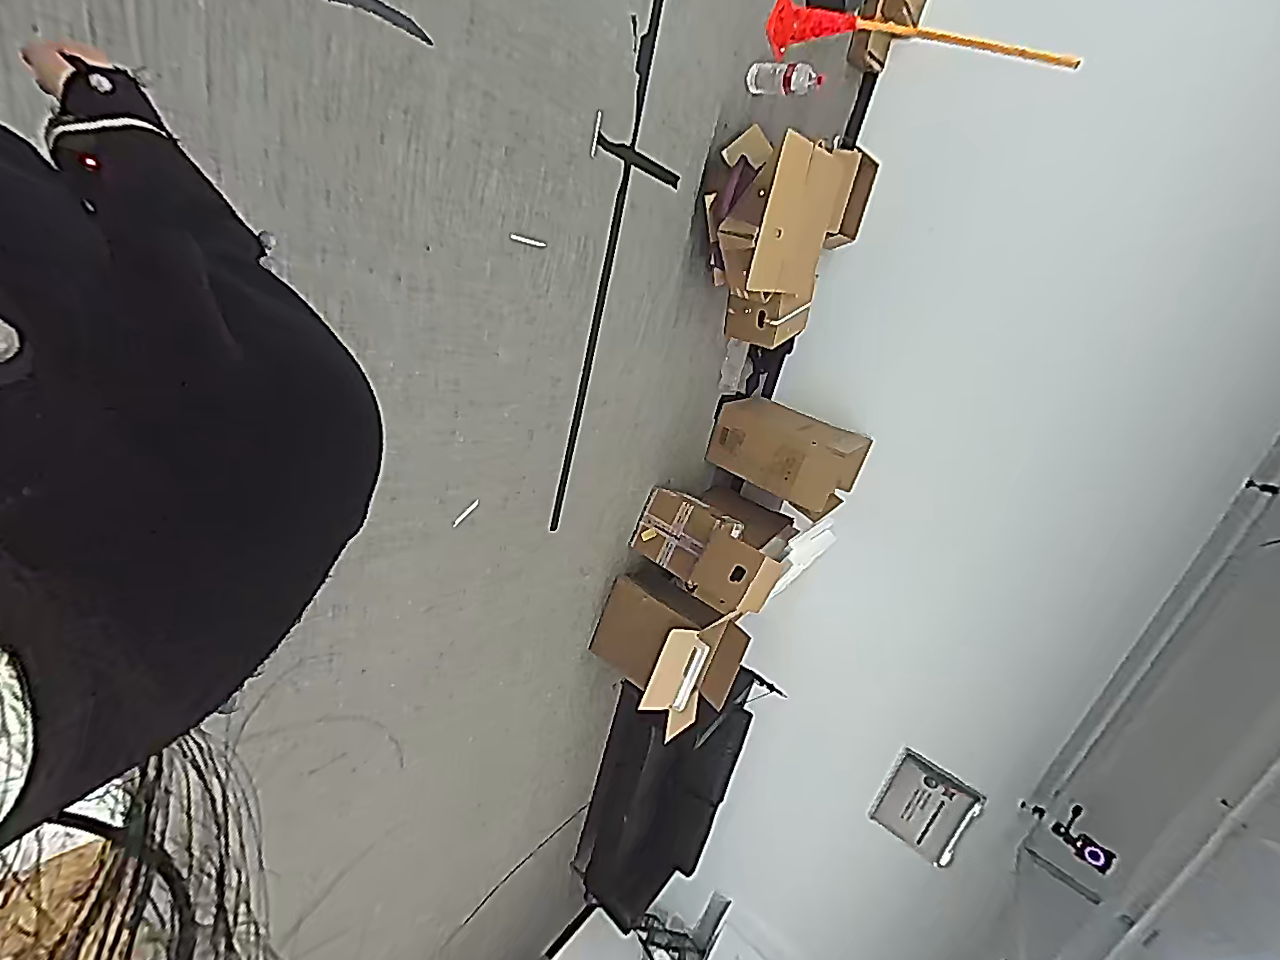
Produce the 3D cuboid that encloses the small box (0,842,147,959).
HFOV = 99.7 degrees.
[{"bbox_3d":[-0.903,0.712,0.841,0.168,0.176,0.179,-7,119,-55],"label":"small box"}]
